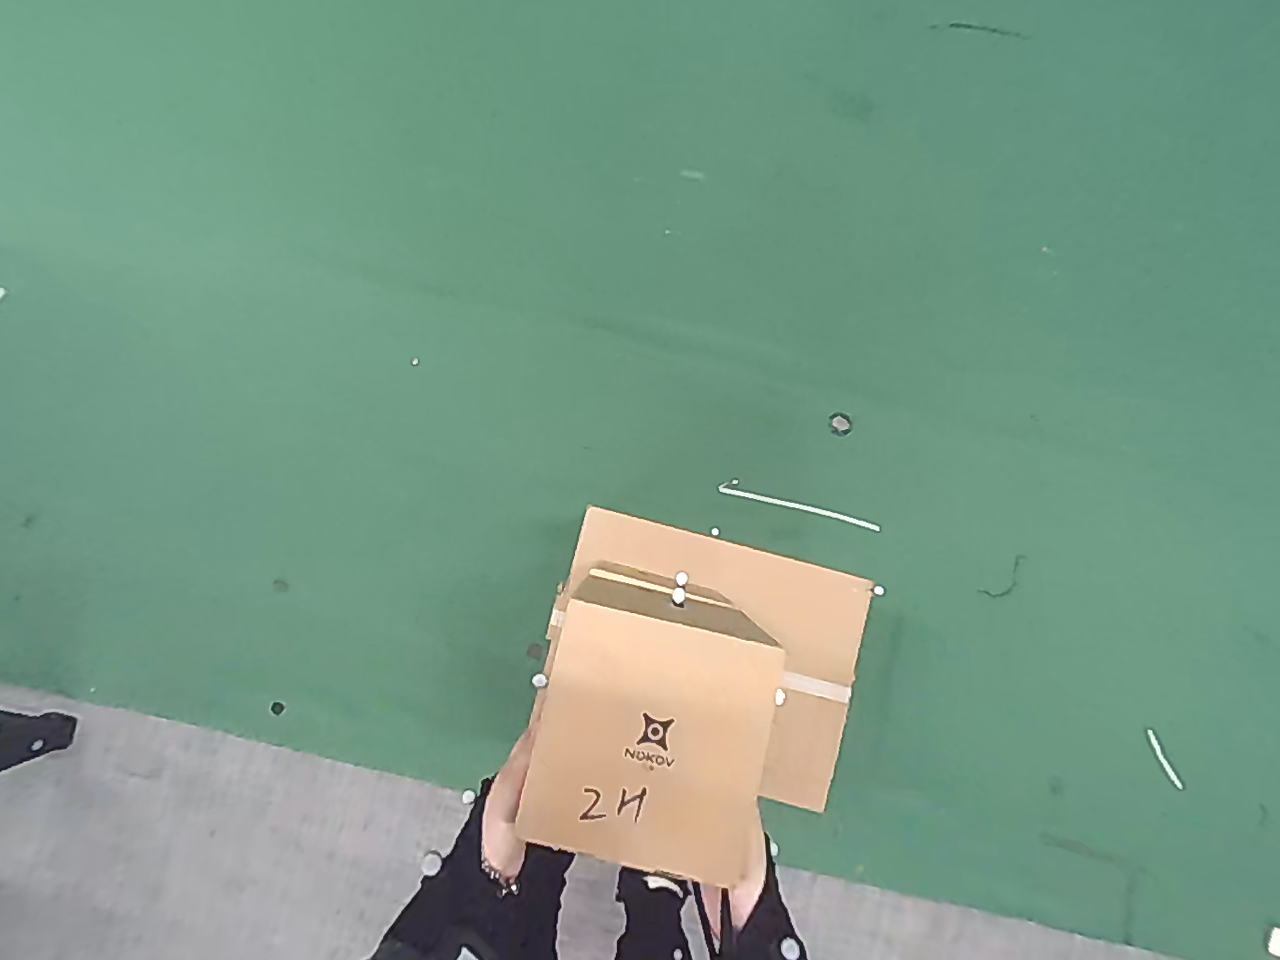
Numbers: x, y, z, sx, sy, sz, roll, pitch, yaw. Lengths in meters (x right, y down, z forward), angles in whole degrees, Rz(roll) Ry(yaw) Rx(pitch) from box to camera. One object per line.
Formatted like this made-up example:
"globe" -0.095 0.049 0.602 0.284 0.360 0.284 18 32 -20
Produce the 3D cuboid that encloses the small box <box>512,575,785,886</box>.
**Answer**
"small box" 0.007 0.186 0.461 0.168 0.176 0.179 13 86 1

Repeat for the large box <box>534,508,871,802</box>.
"large box" 0.082 0.241 0.864 0.408 0.320 0.320 14 86 0

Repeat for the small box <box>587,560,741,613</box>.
"small box" 0.003 0.197 0.625 0.168 0.176 0.179 14 85 1
